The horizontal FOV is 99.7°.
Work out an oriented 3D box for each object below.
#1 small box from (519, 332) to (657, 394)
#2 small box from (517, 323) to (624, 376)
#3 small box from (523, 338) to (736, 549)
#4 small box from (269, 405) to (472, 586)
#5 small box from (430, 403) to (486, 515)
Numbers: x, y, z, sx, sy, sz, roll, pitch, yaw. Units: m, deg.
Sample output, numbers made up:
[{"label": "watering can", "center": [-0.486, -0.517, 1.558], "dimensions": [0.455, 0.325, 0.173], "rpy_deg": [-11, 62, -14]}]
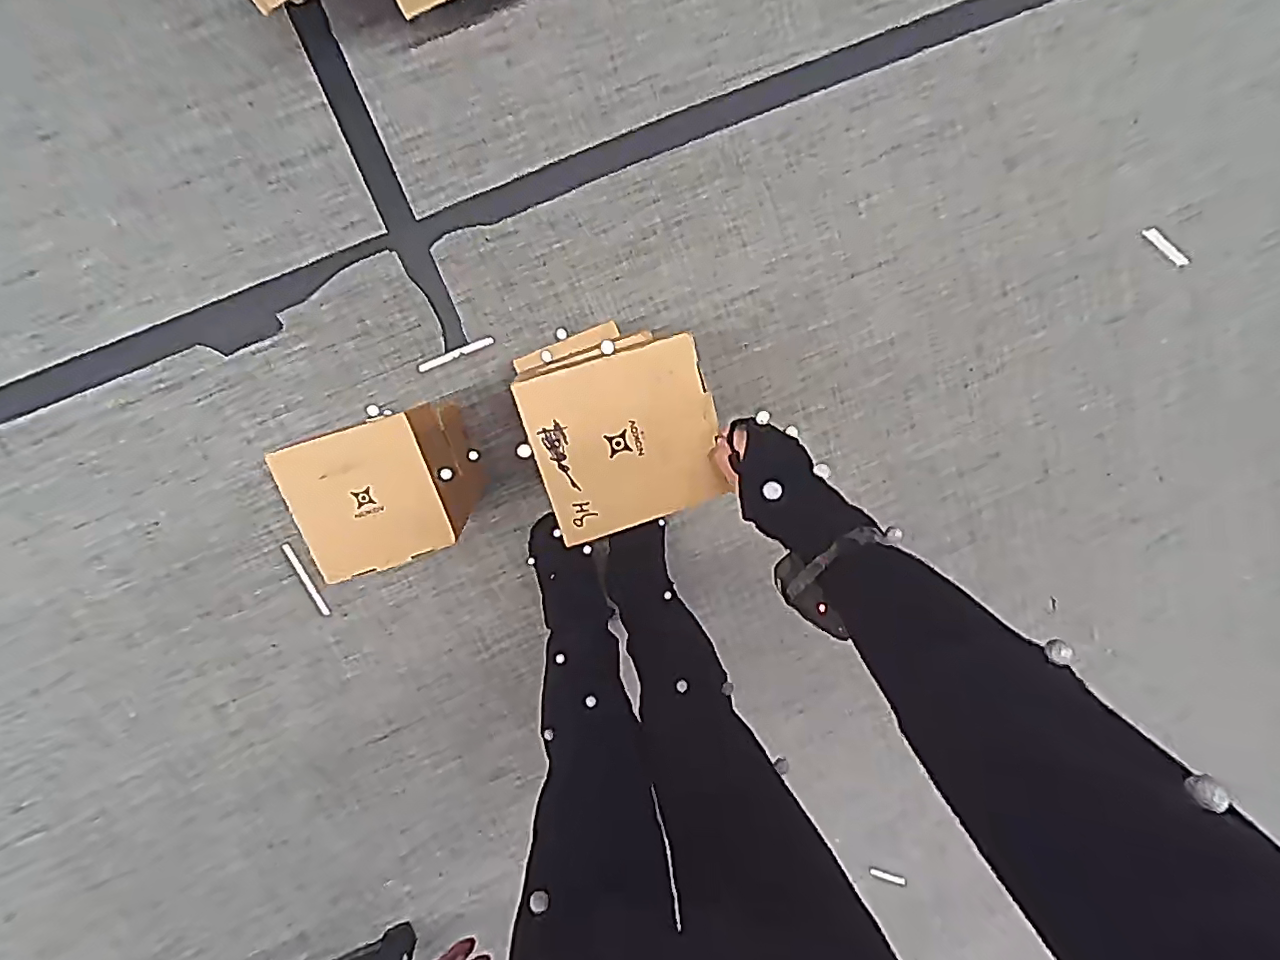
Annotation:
[{"label": "small box", "center": [-0.052, -0.094, 0.744], "dimensions": [0.179, 0.176, 0.168], "rpy_deg": [-21, 107, -5]}, {"label": "small box", "center": [-0.090, -0.146, 0.896], "dimensions": [0.168, 0.176, 0.179], "rpy_deg": [-23, 106, -5]}, {"label": "small box", "center": [-0.020, -0.051, 0.586], "dimensions": [0.179, 0.176, 0.168], "rpy_deg": [-18, 105, -7]}, {"label": "small box", "center": [-0.338, 0.009, 0.722], "dimensions": [0.168, 0.176, 0.179], "rpy_deg": [-19, 105, -7]}, {"label": "small box", "center": [-0.366, -0.019, 0.879], "dimensions": [0.179, 0.176, 0.168], "rpy_deg": [-17, 106, -6]}]
